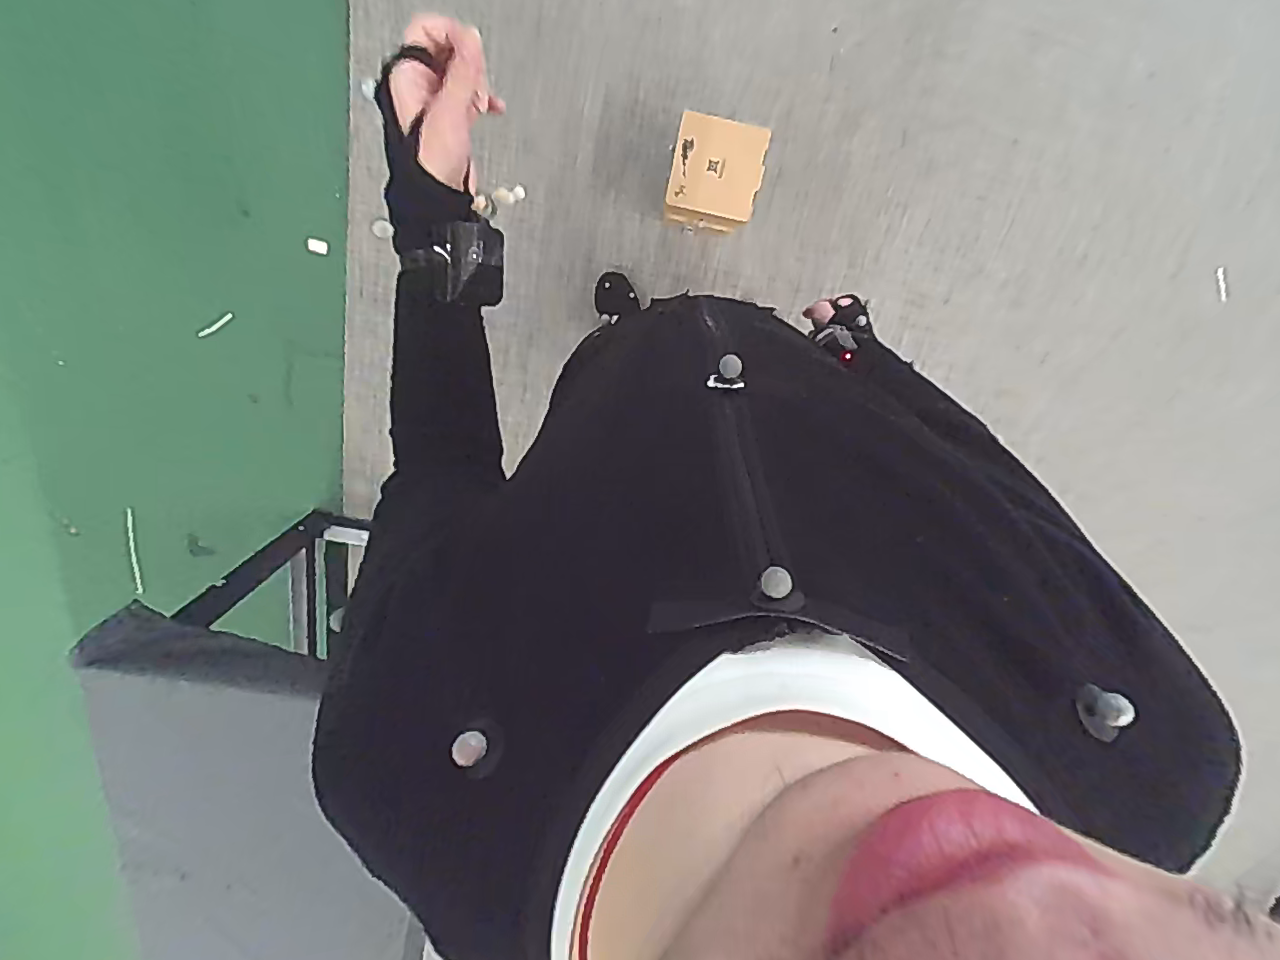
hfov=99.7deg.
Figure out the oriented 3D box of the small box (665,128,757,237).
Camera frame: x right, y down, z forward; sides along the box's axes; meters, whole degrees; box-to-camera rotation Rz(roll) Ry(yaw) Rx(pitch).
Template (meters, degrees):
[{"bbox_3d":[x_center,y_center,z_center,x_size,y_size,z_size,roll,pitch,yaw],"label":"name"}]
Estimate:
[{"bbox_3d":[0.156,-0.686,1.267,0.168,0.176,0.179,13,111,-3],"label":"small box"}]
